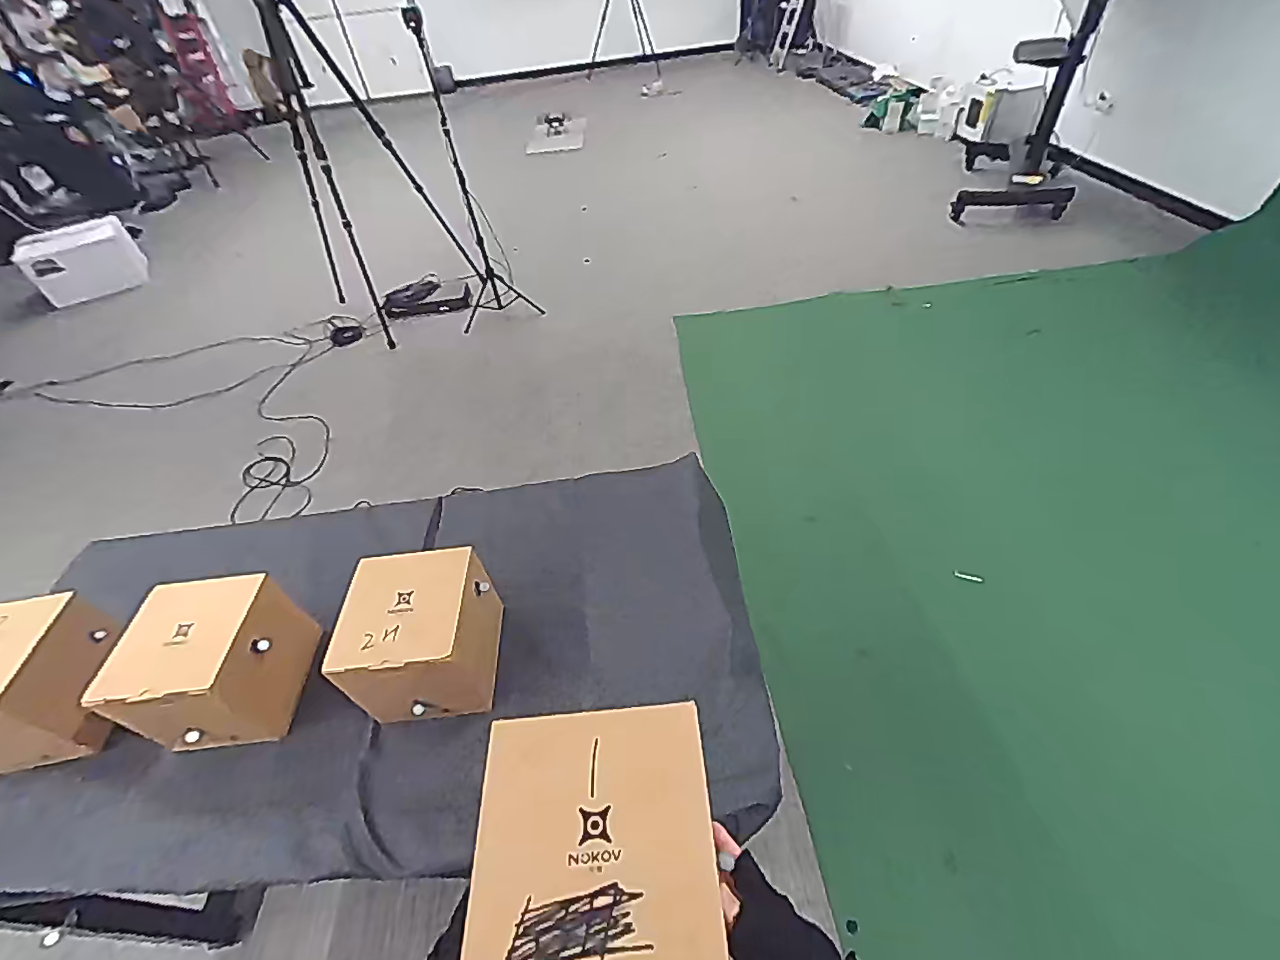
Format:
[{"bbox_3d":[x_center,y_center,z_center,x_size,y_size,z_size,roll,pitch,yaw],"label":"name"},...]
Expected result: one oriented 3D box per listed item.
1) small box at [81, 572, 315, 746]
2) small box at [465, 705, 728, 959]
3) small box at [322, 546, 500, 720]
[{"bbox_3d":[-0.604,0.256,0.774,0.168,0.176,0.179,-6,46,0],"label":"small box"},{"bbox_3d":[-0.023,0.302,0.428,0.168,0.176,0.179,-6,46,1],"label":"small box"},{"bbox_3d":[-0.308,0.219,0.775,0.168,0.176,0.179,-6,46,1],"label":"small box"}]
